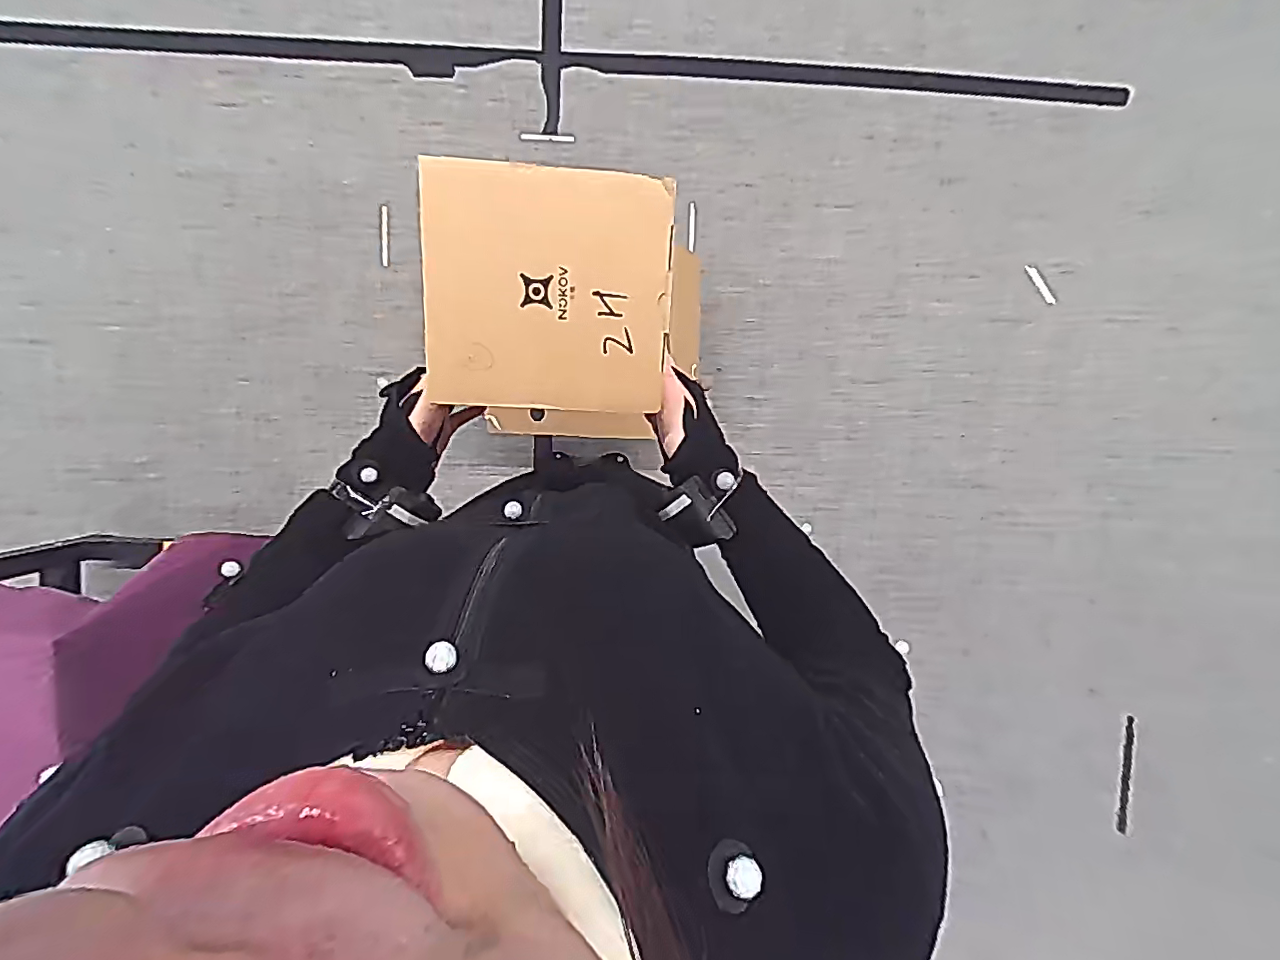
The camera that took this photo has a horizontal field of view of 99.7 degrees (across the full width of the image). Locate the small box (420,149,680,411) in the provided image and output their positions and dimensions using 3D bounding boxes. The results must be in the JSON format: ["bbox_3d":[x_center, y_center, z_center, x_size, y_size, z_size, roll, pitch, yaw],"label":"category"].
[{"bbox_3d":[-0.071,-0.156,0.460,0.179,0.176,0.168,2,106,-6],"label":"small box"}]
